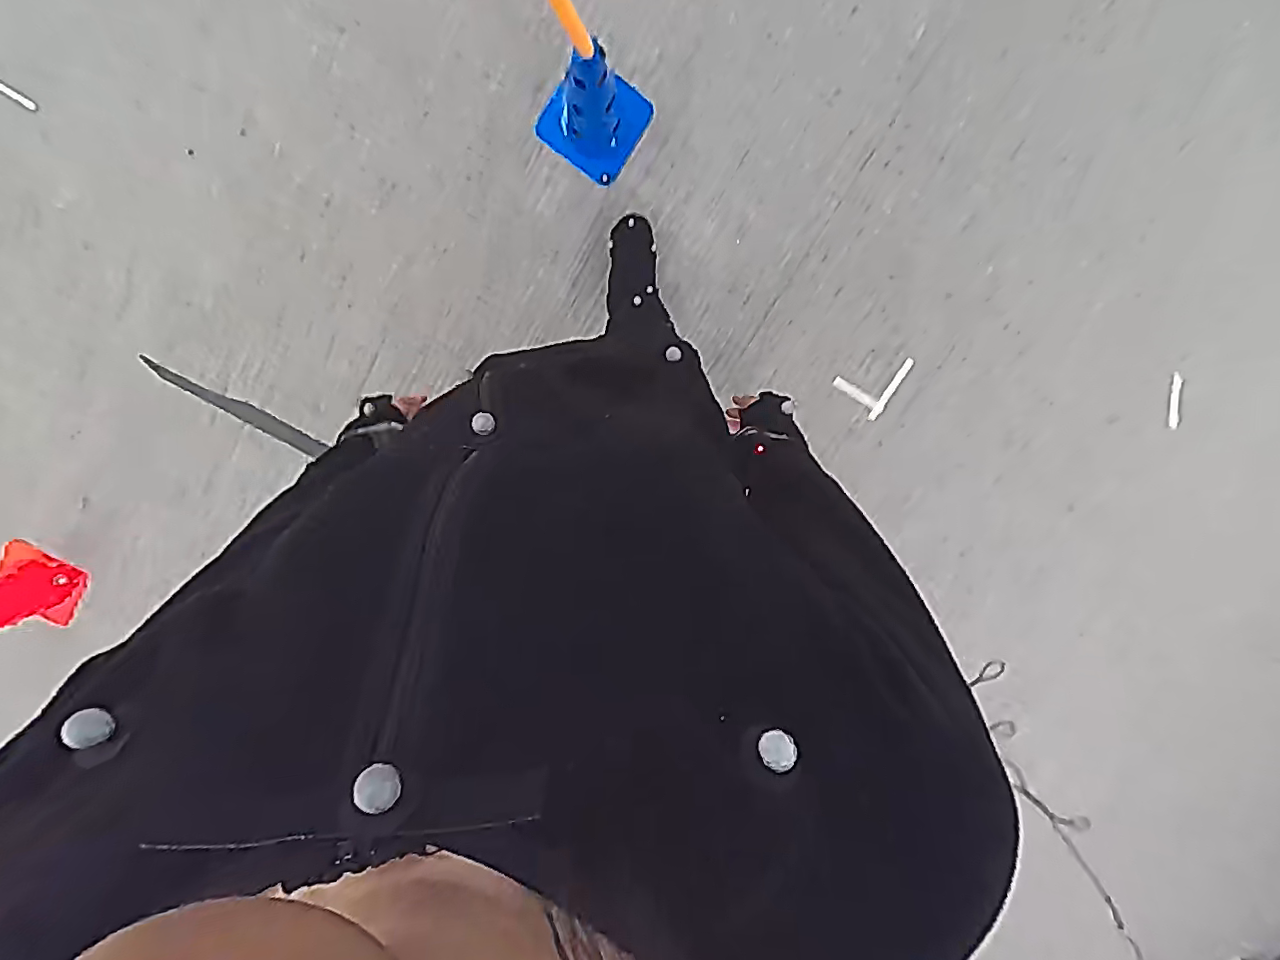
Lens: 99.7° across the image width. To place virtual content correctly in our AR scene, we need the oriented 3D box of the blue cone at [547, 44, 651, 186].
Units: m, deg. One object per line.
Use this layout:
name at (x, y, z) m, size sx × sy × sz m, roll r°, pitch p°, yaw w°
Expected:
blue cone at (-0.082, -0.724, 1.019) m, size 0.192 × 0.380 × 0.193 m, roll 34°, pitch 103°, yaw -13°

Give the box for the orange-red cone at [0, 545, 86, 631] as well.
orange-red cone at (-1.575, 0.336, 1.253) m, size 0.199 × 0.360 × 0.198 m, roll 34°, pitch 103°, yaw -12°
